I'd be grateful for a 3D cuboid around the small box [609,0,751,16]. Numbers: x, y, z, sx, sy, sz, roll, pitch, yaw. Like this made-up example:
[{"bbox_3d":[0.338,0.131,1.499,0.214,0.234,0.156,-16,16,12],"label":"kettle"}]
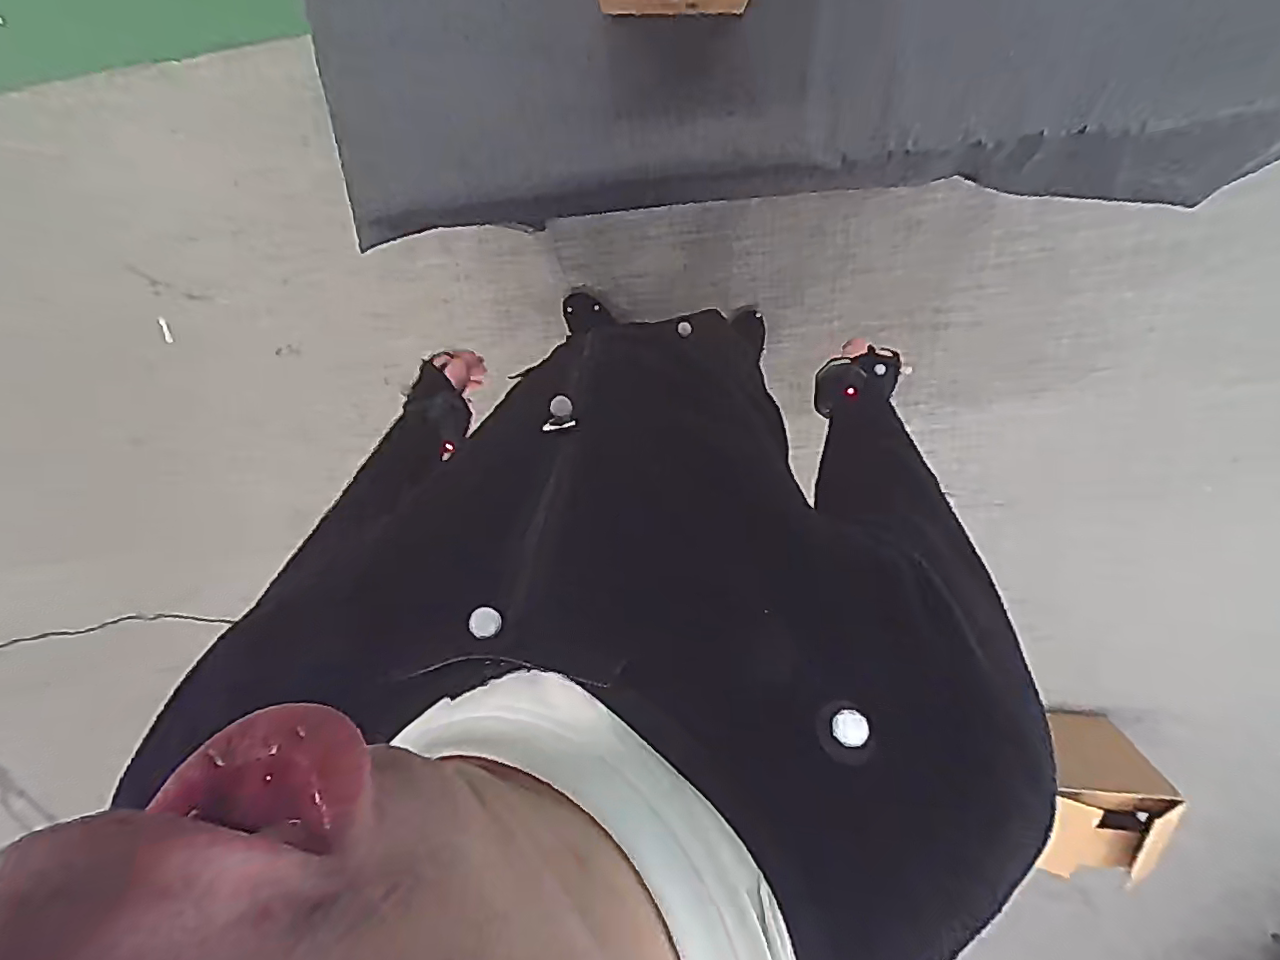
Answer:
[{"bbox_3d":[0.038,-0.587,0.523,0.168,0.176,0.179,0,111,6],"label":"small box"}]
